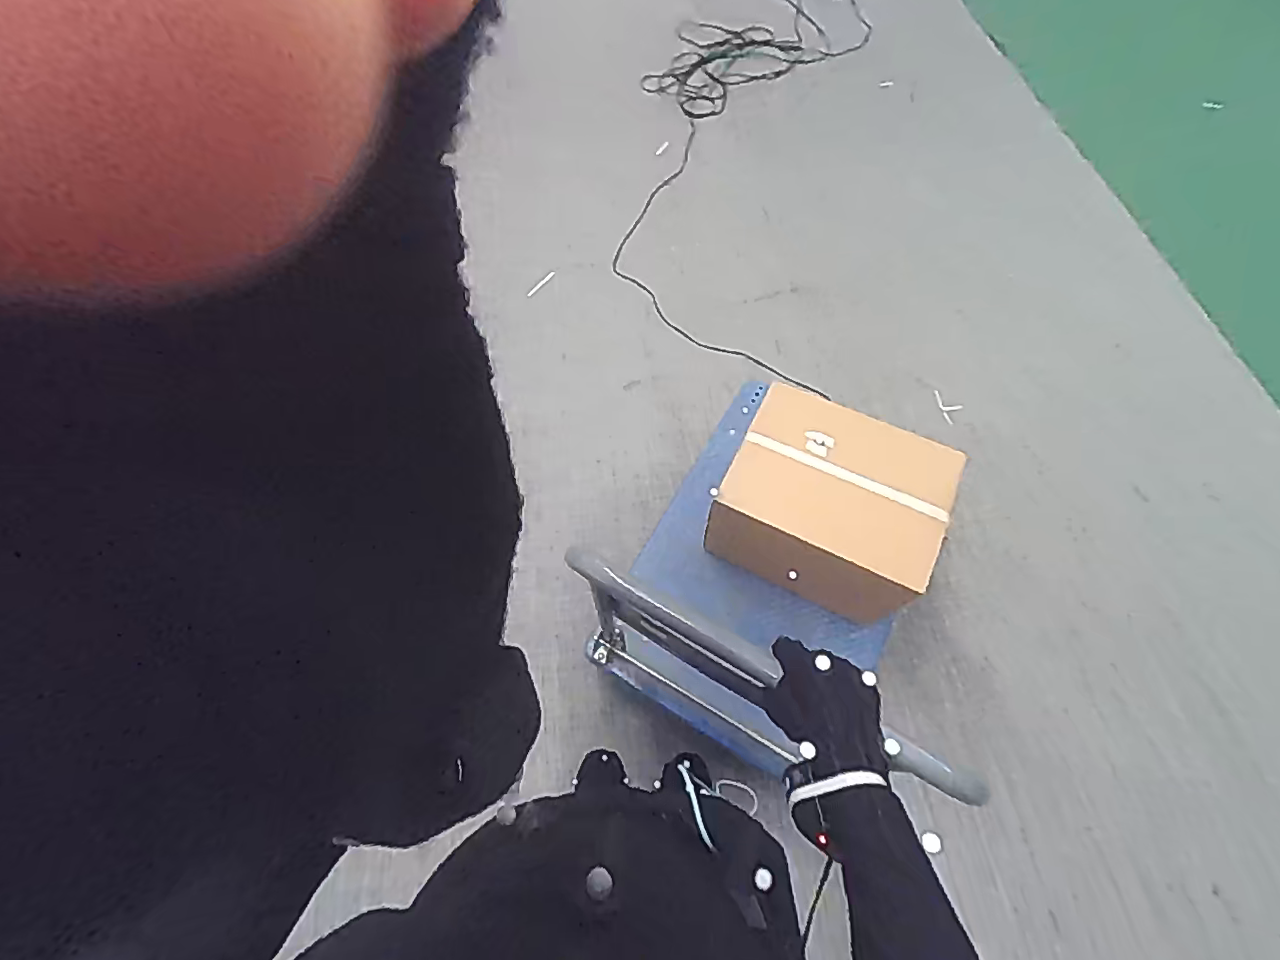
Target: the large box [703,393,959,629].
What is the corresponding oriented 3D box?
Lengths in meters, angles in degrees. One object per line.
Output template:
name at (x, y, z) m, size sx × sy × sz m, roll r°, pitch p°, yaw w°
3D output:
large box at (0.385, 0.077, 1.171) m, size 0.408 × 0.320 × 0.320 m, roll 24°, pitch 67°, yaw 14°
